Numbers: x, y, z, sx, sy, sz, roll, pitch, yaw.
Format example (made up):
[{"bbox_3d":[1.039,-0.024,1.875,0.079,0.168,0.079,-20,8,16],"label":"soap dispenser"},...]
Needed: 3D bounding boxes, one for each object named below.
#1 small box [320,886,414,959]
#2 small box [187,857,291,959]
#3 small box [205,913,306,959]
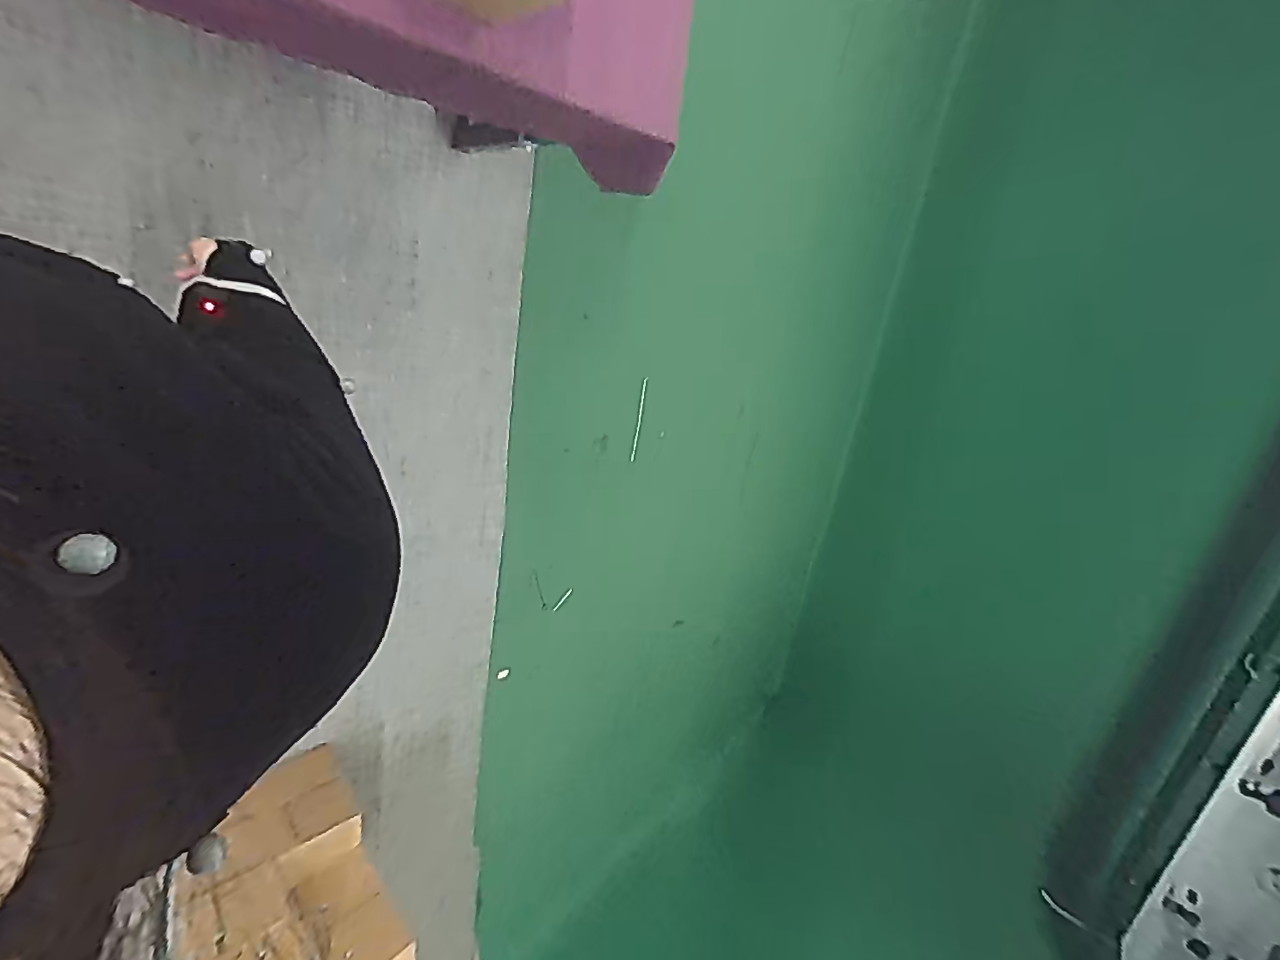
[{"bbox_3d":[-0.708,1.219,1.397,0.179,0.176,0.168,-14,122,-46],"label":"small box"},{"bbox_3d":[-0.953,1.060,1.284,0.179,0.176,0.168,-9,117,-46],"label":"small box"},{"bbox_3d":[-0.837,1.119,1.185,0.168,0.176,0.179,-8,115,-46],"label":"small box"}]
